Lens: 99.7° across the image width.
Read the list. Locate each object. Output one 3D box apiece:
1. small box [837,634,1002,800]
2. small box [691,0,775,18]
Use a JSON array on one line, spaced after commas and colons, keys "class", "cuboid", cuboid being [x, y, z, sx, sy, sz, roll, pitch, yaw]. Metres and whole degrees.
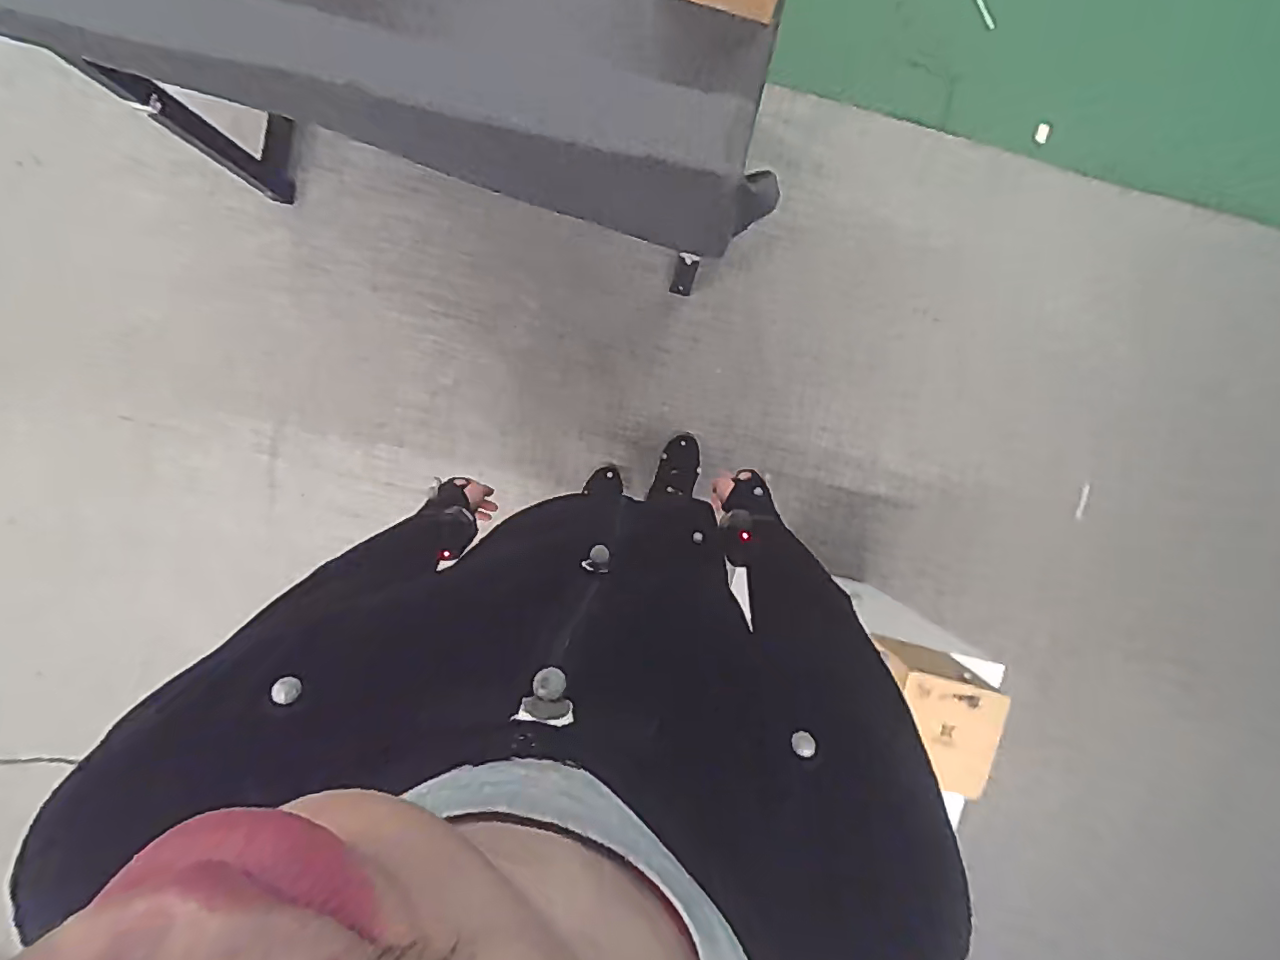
[{"class": "small box", "cuboid": [0.454, 0.389, 0.913, 0.168, 0.176, 0.179, 16, 96, -2]}, {"class": "small box", "cuboid": [0.126, -0.752, 0.694, 0.179, 0.176, 0.168, 15, 93, 0]}]
